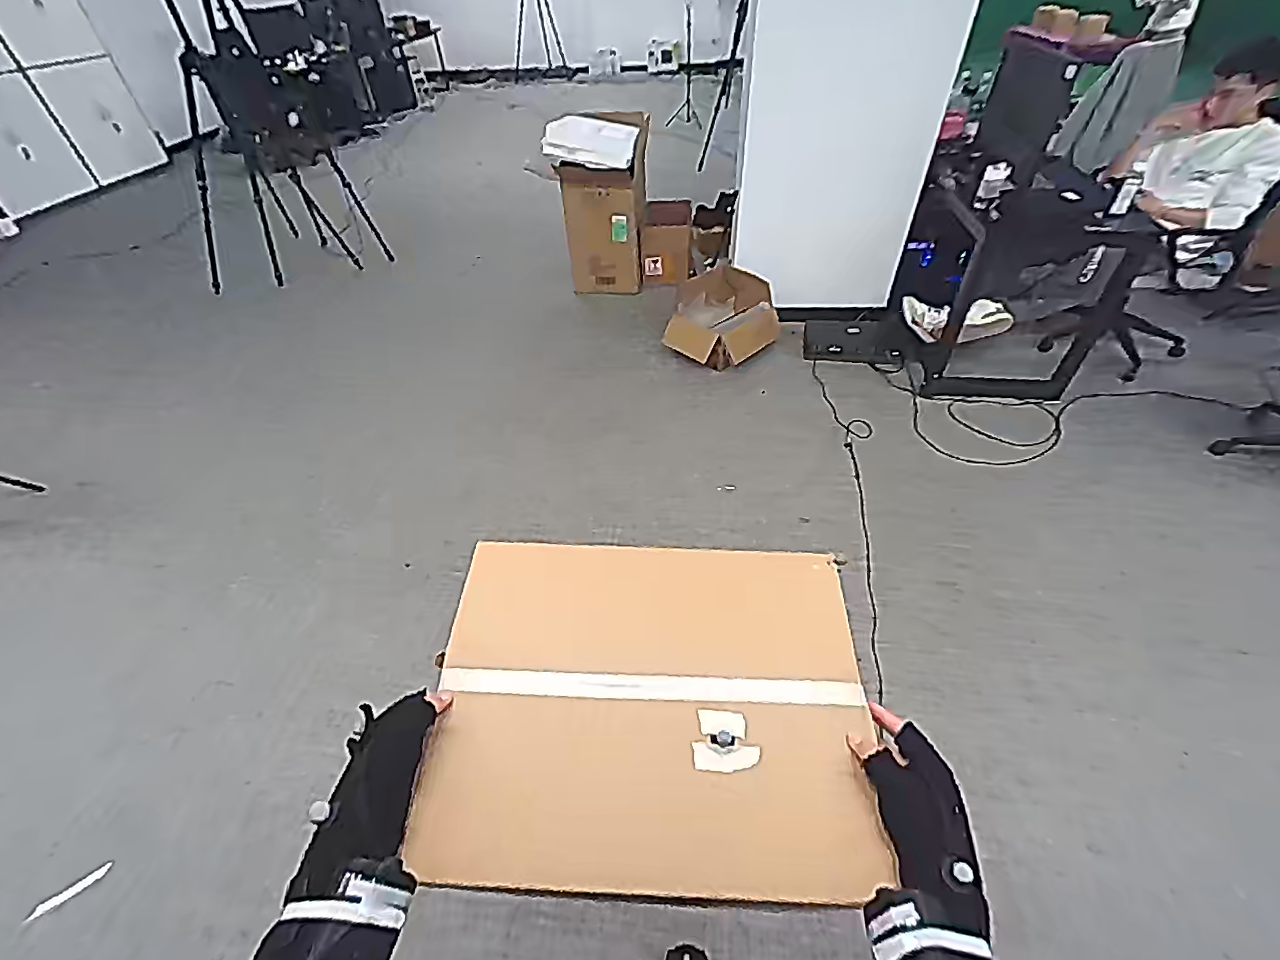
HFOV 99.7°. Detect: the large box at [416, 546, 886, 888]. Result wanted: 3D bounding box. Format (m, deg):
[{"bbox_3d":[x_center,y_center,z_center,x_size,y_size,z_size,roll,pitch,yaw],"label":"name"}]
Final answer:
[{"bbox_3d":[0.009,0.294,0.656,0.408,0.320,0.320,2,52,1],"label":"large box"}]
